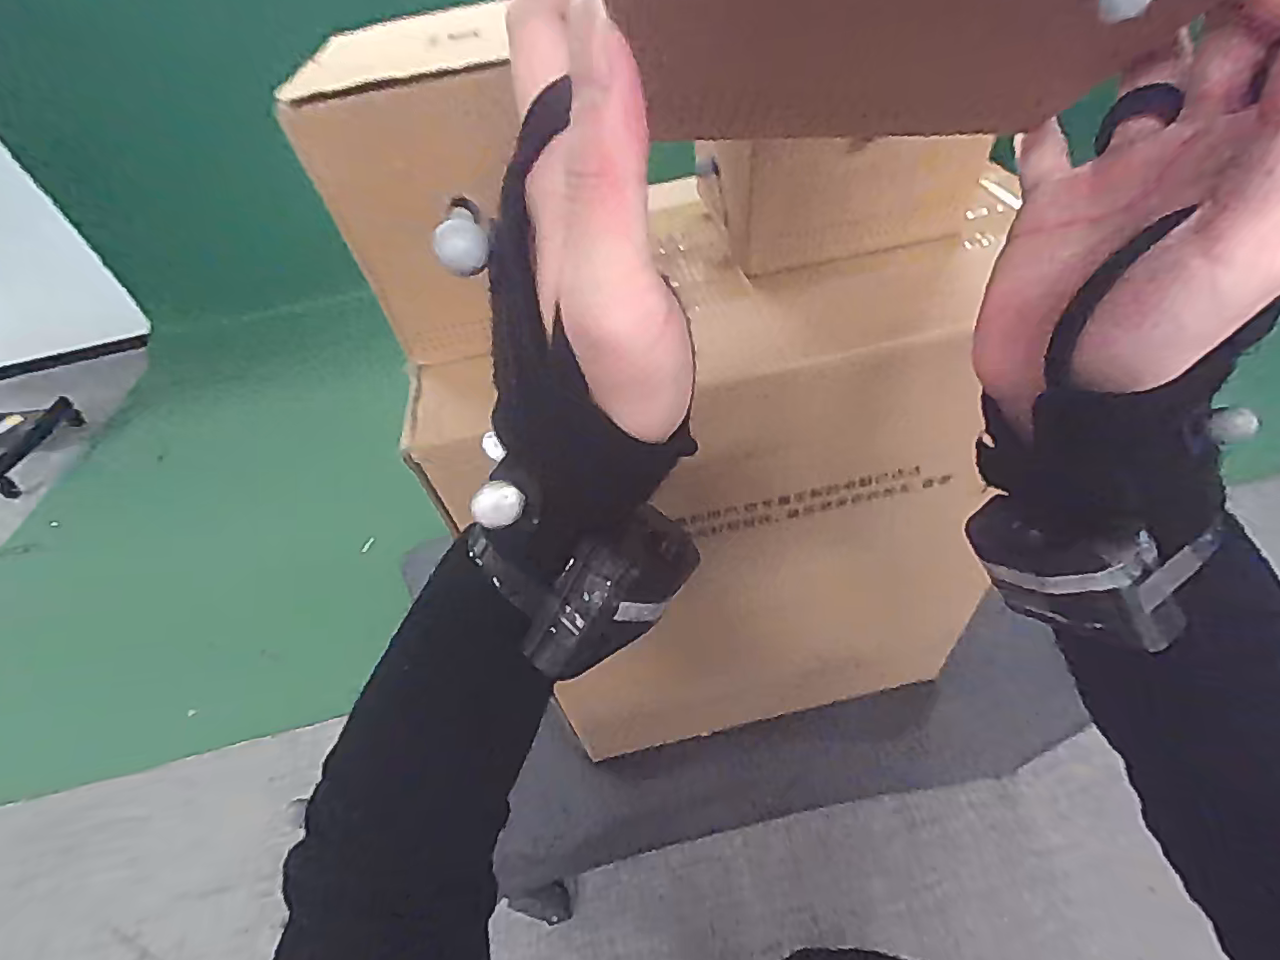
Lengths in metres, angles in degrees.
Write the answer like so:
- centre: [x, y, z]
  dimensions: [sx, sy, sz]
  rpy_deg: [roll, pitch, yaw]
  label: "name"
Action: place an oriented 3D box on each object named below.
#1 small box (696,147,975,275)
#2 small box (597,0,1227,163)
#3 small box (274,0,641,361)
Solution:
- centre: [0.139, -0.283, 0.409]
  dimensions: [0.179, 0.176, 0.168]
  rpy_deg: [-13, 51, 0]
  label: "small box"
- centre: [0.073, -0.204, 0.136]
  dimensions: [0.179, 0.168, 0.176]
  rpy_deg: [-3, 5, -1]
  label: "small box"
- centre: [-0.106, -0.208, 0.388]
  dimensions: [0.179, 0.176, 0.168]
  rpy_deg: [-13, 50, -1]
  label: "small box"
